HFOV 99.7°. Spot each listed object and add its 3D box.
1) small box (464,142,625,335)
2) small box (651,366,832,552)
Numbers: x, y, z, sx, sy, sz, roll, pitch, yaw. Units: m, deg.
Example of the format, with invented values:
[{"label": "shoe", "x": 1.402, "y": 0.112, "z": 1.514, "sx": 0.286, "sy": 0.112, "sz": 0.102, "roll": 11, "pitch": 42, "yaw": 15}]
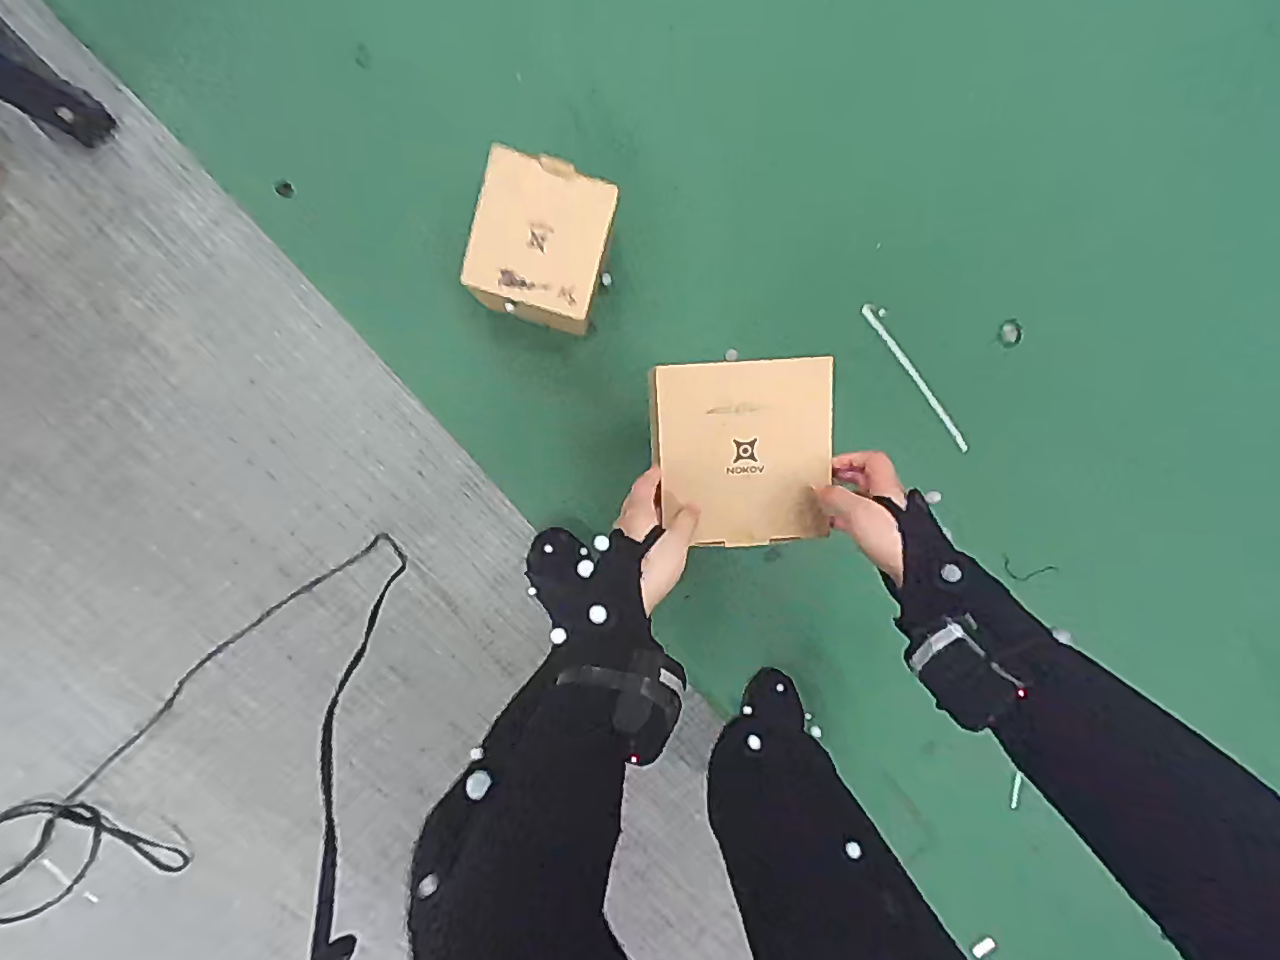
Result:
[{"label": "small box", "x": -0.129, "y": -0.321, "z": 0.759, "sx": 0.168, "sy": 0.176, "sz": 0.179, "roll": 17, "pitch": 96, "yaw": -7}, {"label": "small box", "x": 0.100, "y": -0.032, "z": 0.595, "sx": 0.168, "sy": 0.176, "sz": 0.179, "roll": -4, "pitch": 100, "yaw": -1}]
